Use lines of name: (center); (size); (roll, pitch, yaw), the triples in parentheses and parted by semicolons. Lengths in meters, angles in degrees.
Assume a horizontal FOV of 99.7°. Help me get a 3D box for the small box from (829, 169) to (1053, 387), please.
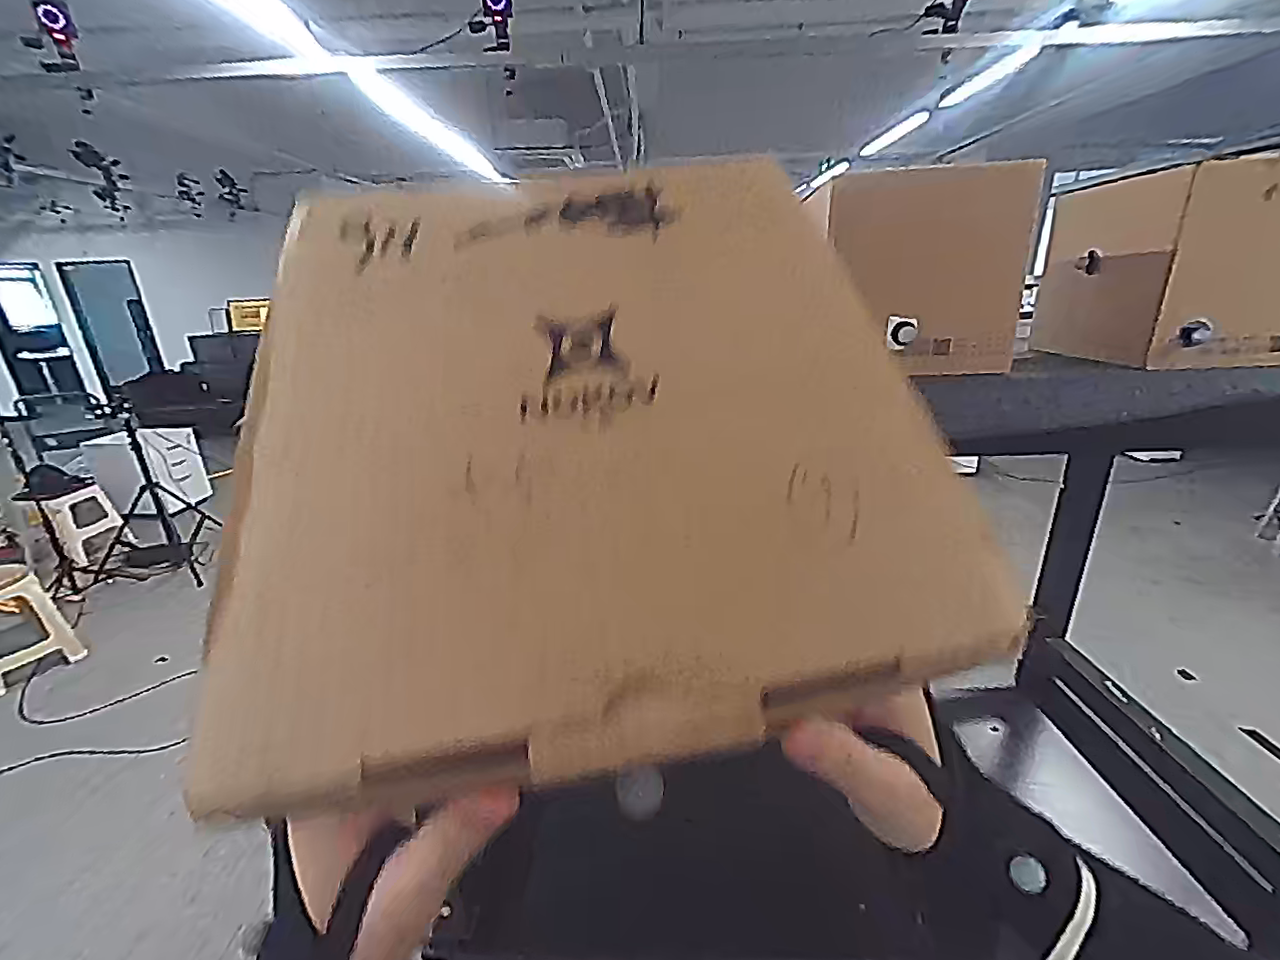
small box: (0.248, -0.187, 0.527); (0.168, 0.176, 0.179); (-1, 19, 5)

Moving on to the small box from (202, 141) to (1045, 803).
small box: (-0.013, 0.007, 0.210); (0.168, 0.176, 0.179); (-8, 62, -7)

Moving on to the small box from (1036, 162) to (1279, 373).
small box: (0.531, -0.197, 0.523); (0.168, 0.176, 0.179); (-1, 19, 4)
